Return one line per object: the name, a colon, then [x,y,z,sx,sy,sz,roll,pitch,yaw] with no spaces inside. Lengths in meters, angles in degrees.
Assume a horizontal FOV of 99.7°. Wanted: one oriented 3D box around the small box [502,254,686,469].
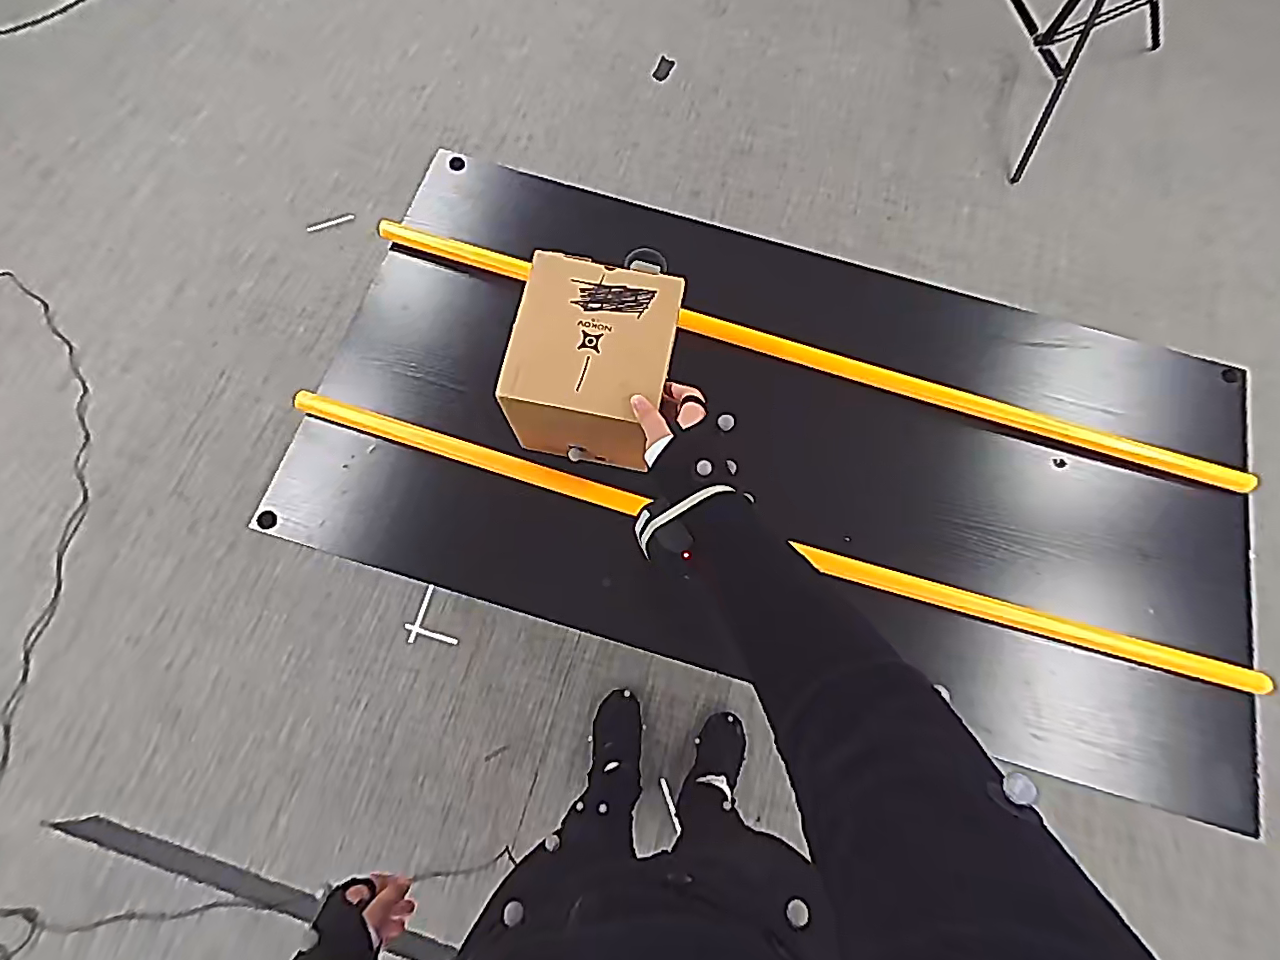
small box: [-0.049,-0.130,0.644,0.168,0.176,0.179,11,75,1]
